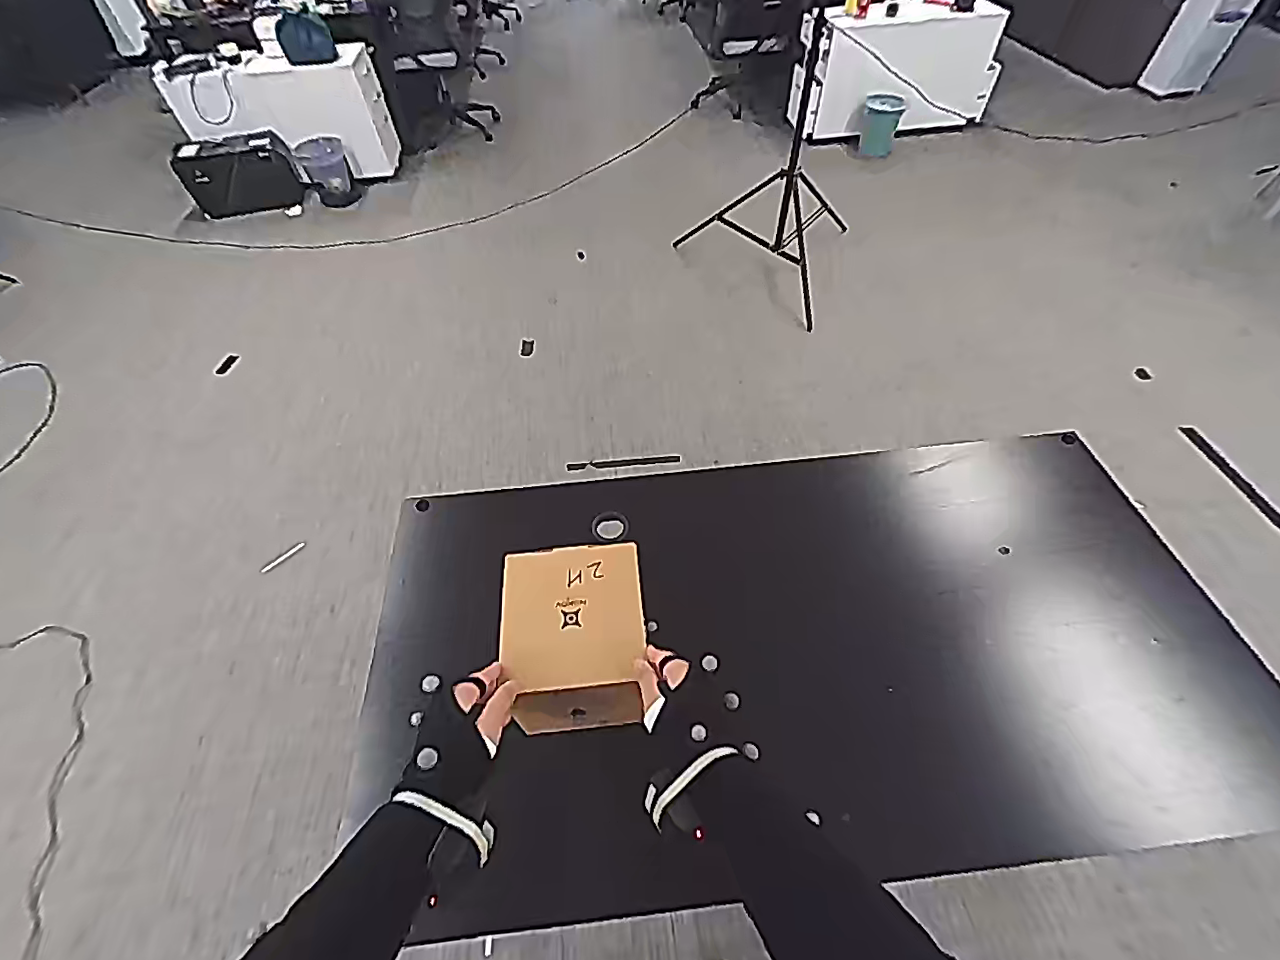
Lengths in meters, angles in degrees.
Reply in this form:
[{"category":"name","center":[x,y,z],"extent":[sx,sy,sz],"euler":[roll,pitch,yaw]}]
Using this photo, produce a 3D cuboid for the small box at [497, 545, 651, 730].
[{"category":"small box","center":[-0.077,0.207,0.691],"extent":[0.168,0.176,0.179],"euler":[-6,51,-2]}]
